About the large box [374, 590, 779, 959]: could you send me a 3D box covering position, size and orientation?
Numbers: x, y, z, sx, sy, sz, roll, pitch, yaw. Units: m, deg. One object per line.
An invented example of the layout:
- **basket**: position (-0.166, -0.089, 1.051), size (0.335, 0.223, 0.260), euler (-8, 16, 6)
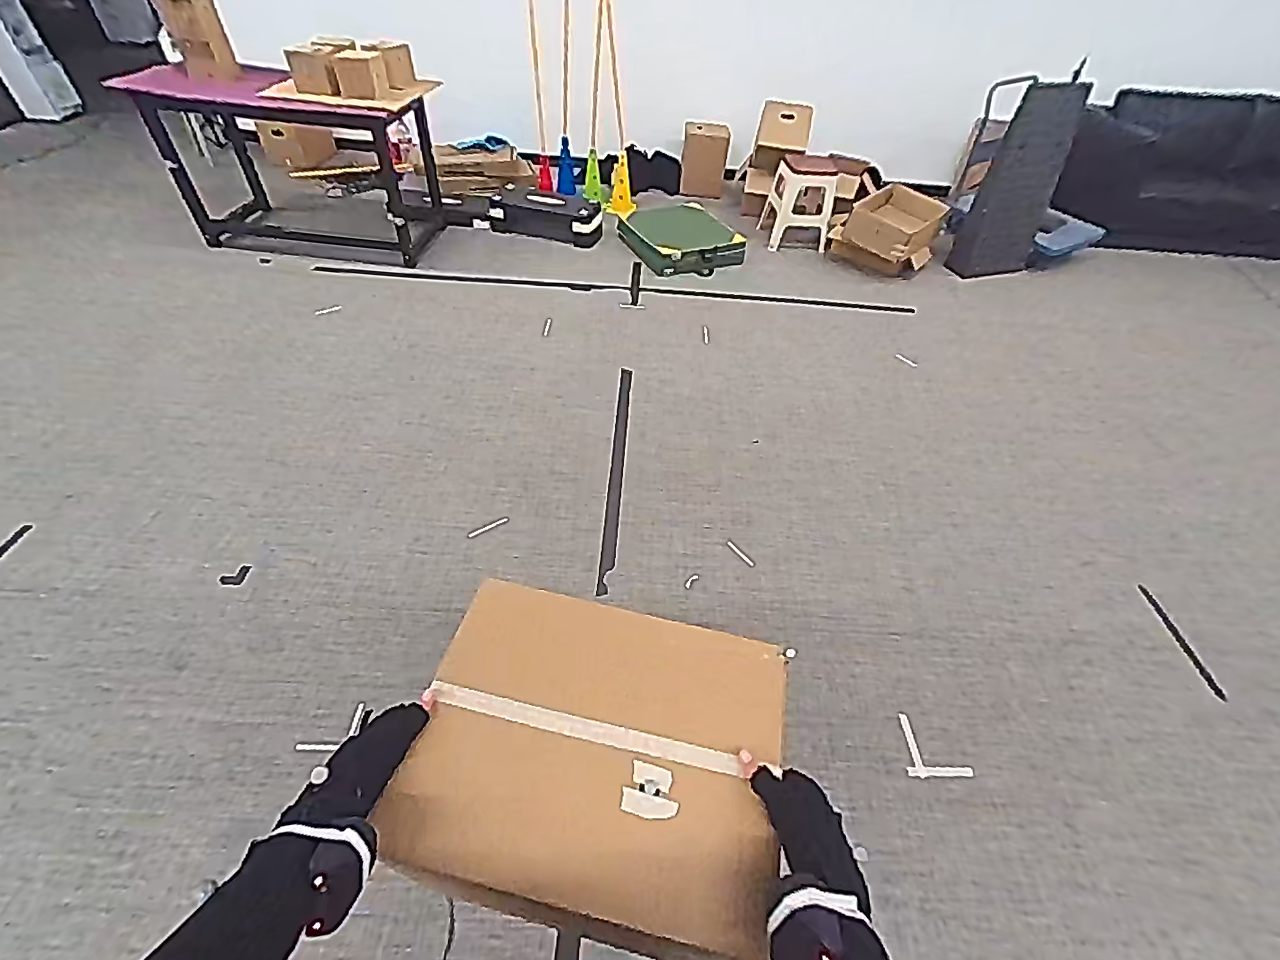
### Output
- **large box**: position (-0.056, 0.395, 0.727), size (0.408, 0.320, 0.320), euler (13, 48, 5)
